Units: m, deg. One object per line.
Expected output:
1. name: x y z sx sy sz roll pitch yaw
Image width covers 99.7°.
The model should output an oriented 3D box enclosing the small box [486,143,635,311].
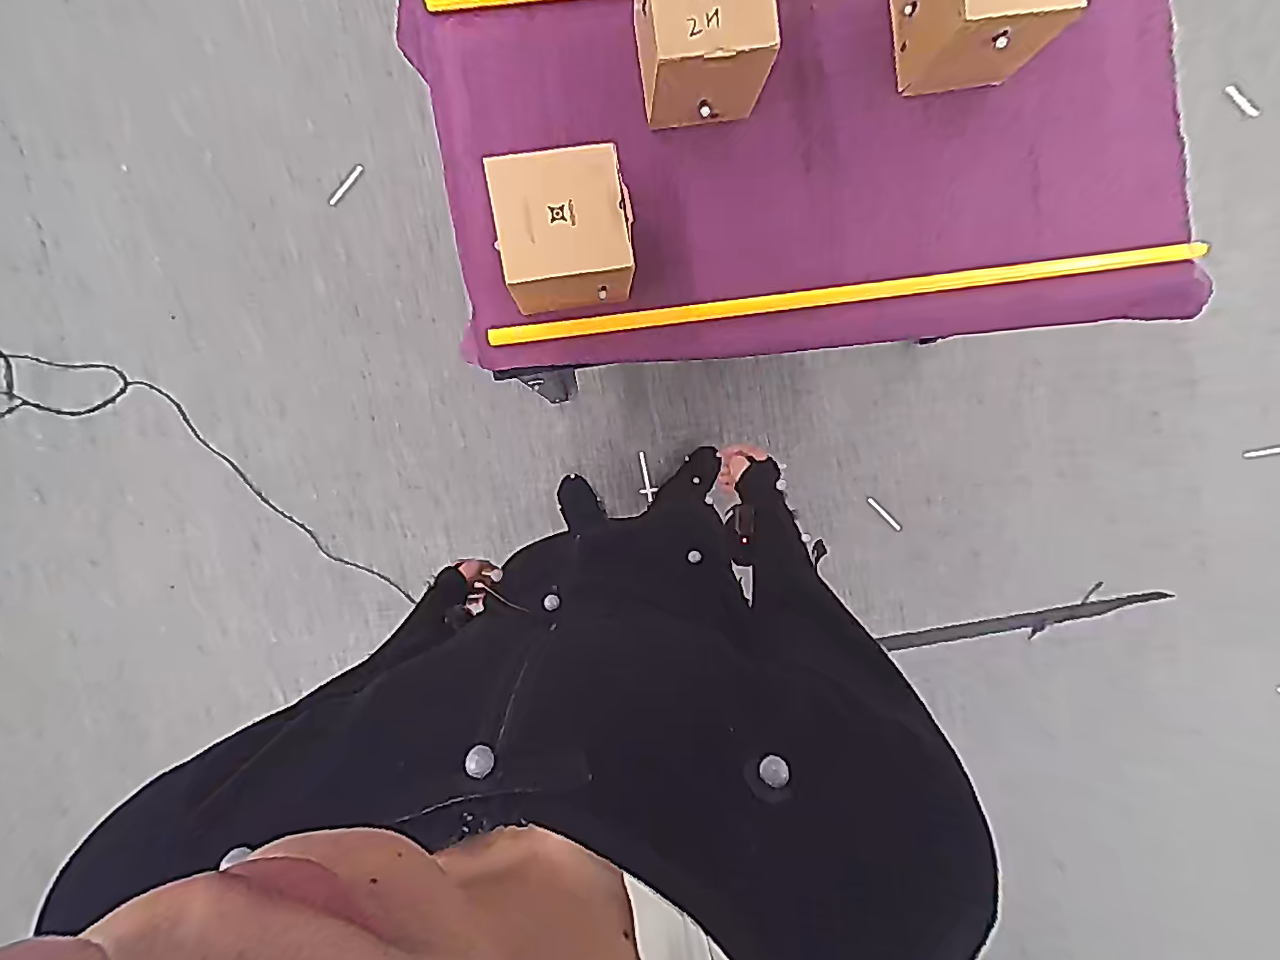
1. small box: -0.112 -0.358 0.792 0.179 0.176 0.168 -10 93 -5

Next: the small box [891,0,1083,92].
1. small box: 0.504 -0.719 0.804 0.179 0.176 0.168 -8 95 -2

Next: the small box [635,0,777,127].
1. small box: 0.086 -0.655 0.785 0.168 0.176 0.179 -8 96 -2
